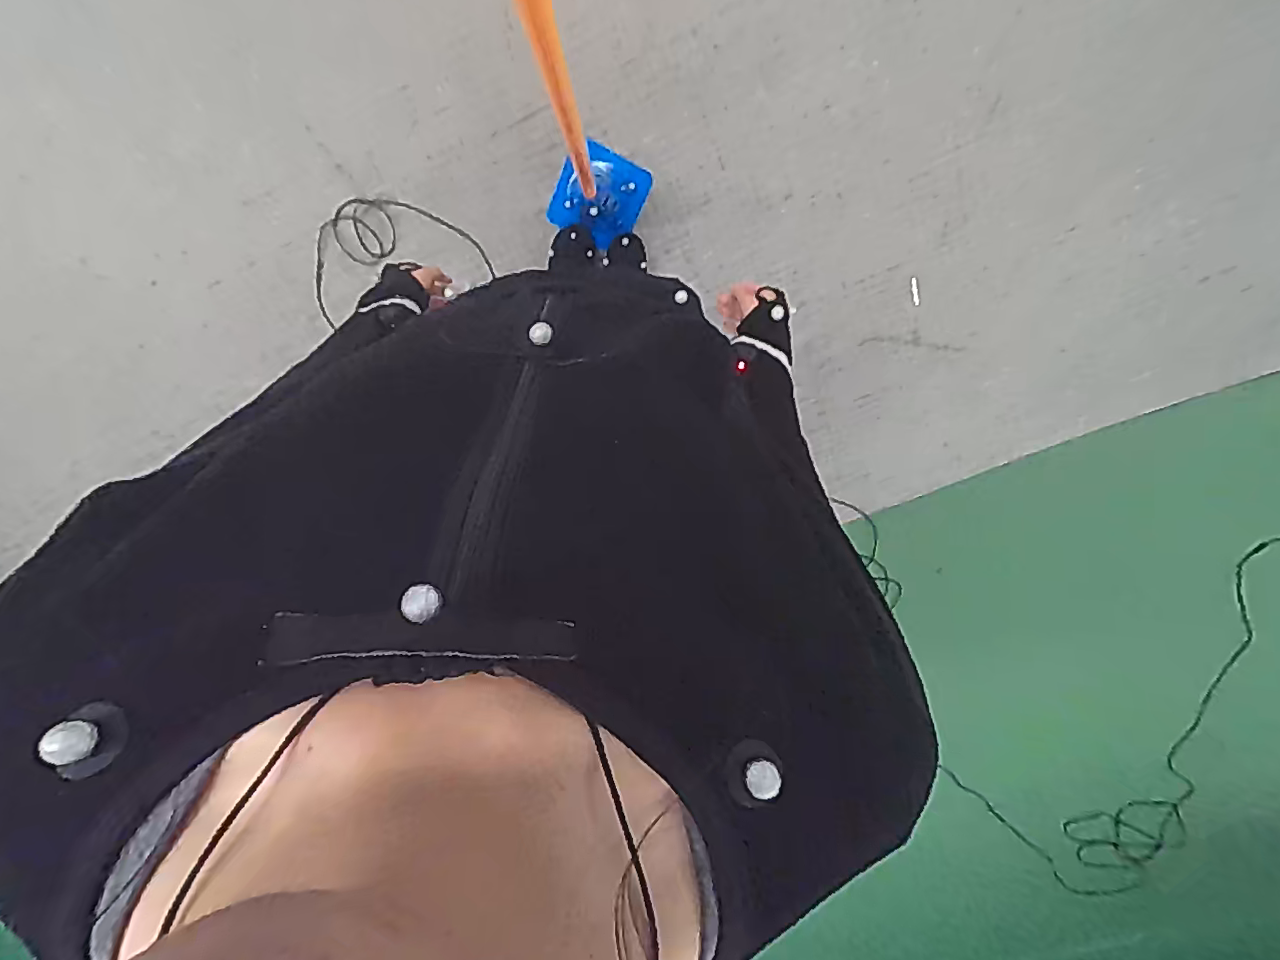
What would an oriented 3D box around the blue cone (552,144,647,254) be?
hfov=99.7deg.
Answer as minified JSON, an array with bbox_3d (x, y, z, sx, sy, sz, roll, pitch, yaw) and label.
[{"bbox_3d":[-0.089,-0.574,1.096,0.192,0.380,0.193,22,112,-13],"label":"blue cone"}]
